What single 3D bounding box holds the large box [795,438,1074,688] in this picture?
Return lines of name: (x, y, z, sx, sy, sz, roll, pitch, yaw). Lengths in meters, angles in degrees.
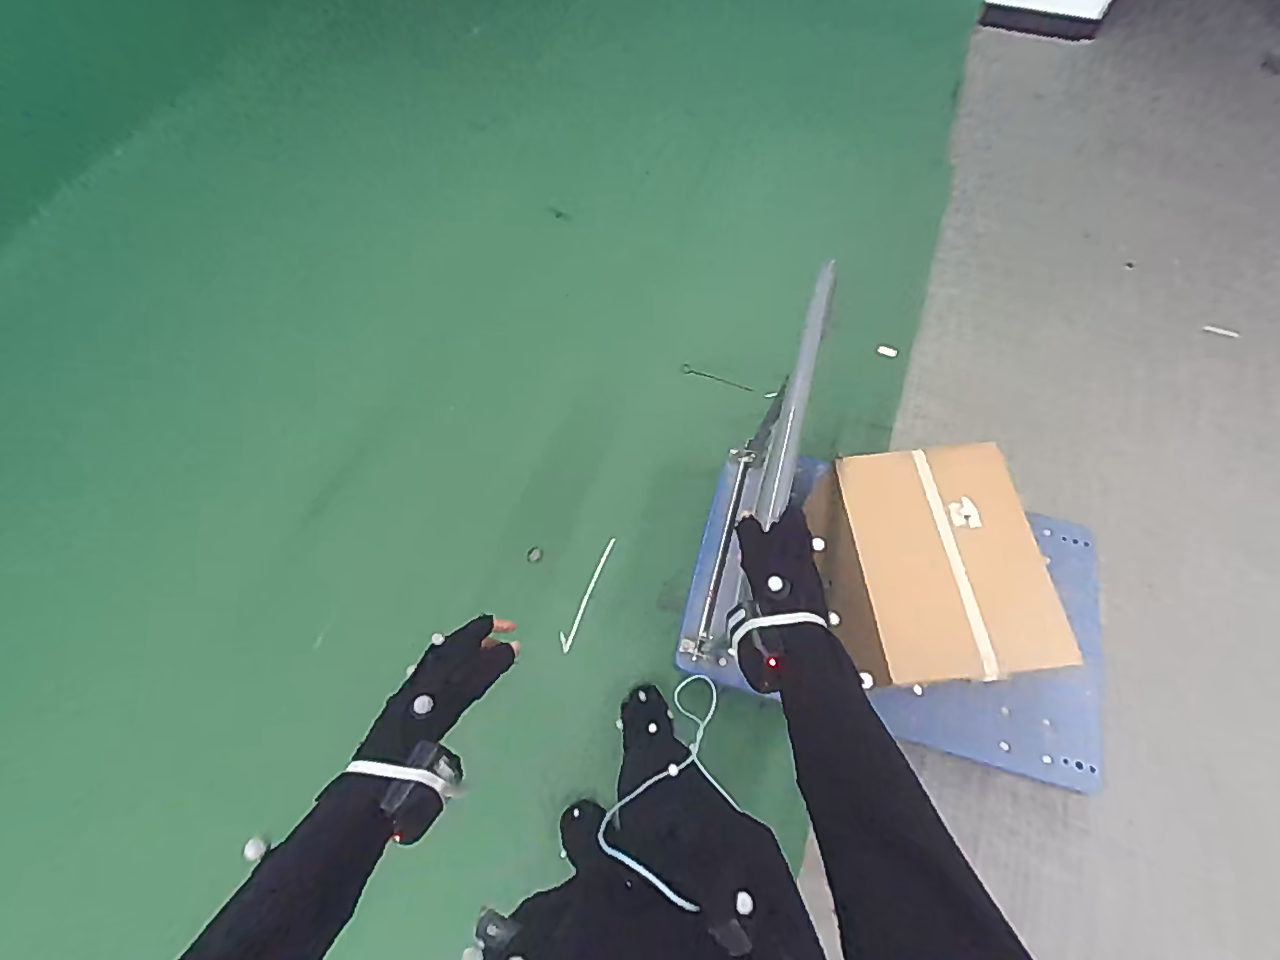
large box: (0.535, 0.179, 1.085, 0.320, 0.320, 0.408, -6, 65, -1)
